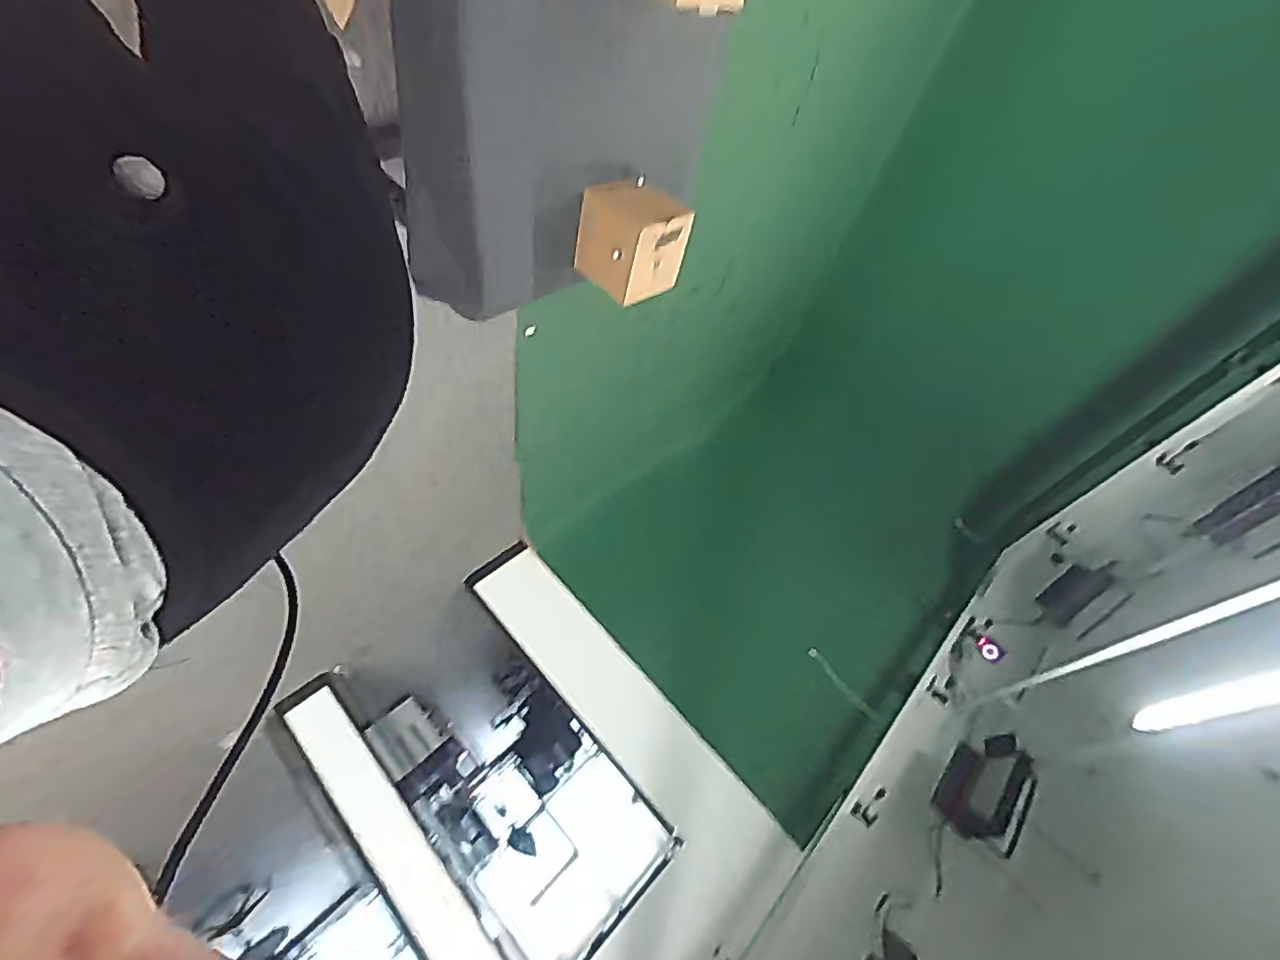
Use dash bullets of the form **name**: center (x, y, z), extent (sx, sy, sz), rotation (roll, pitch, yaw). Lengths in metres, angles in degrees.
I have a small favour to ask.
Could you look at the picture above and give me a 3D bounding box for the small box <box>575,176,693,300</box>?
- **small box**: center (-0.020, -0.523, 1.153), extent (0.168, 0.176, 0.179), rotation (-33, 158, -34)
